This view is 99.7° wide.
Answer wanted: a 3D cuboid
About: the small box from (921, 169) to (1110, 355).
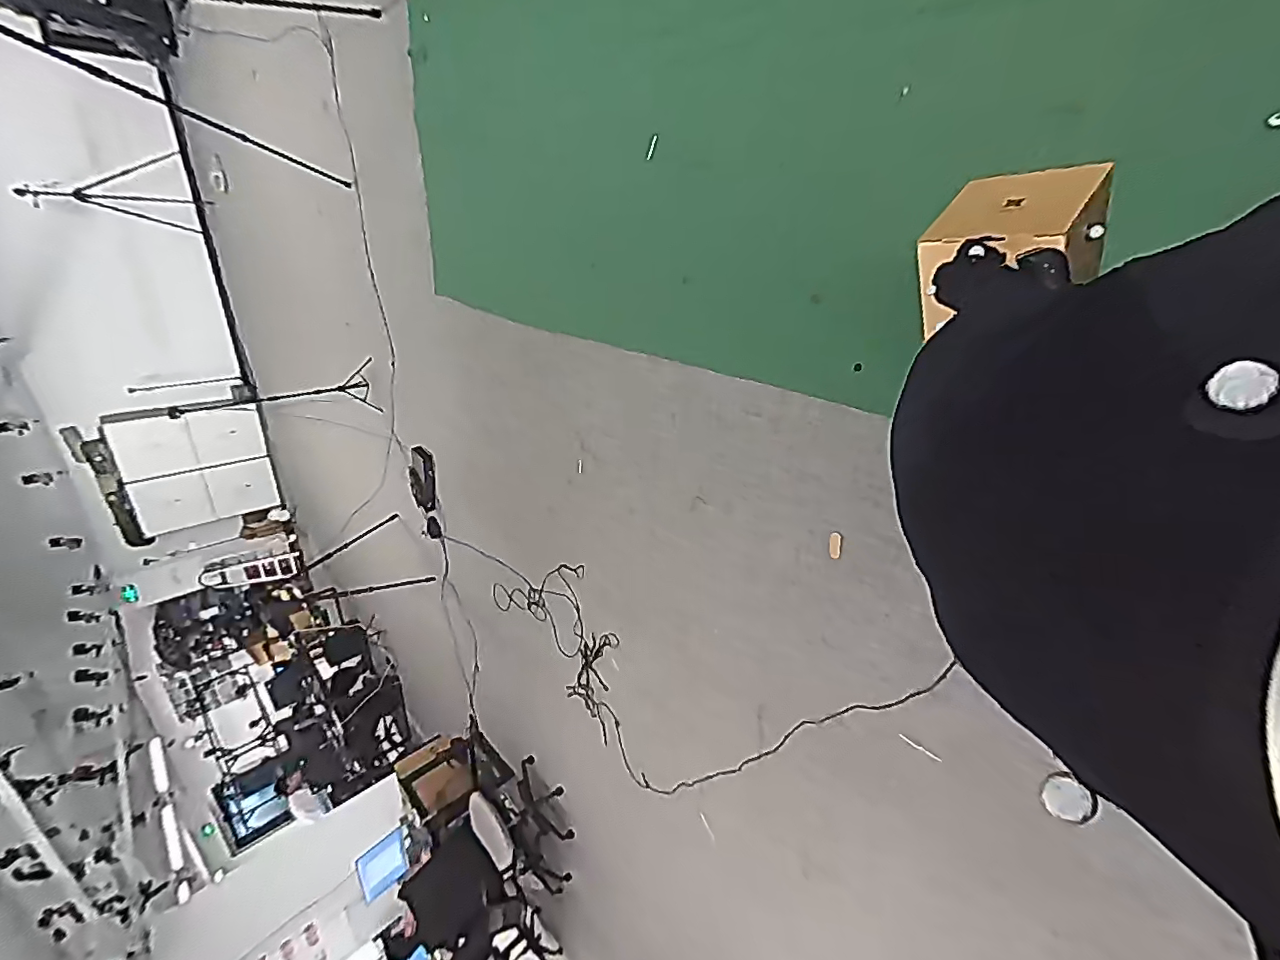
[{"bbox_3d":[0.518,-0.300,0.758,0.168,0.179,0.176,20,150,45],"label":"small box"}]
